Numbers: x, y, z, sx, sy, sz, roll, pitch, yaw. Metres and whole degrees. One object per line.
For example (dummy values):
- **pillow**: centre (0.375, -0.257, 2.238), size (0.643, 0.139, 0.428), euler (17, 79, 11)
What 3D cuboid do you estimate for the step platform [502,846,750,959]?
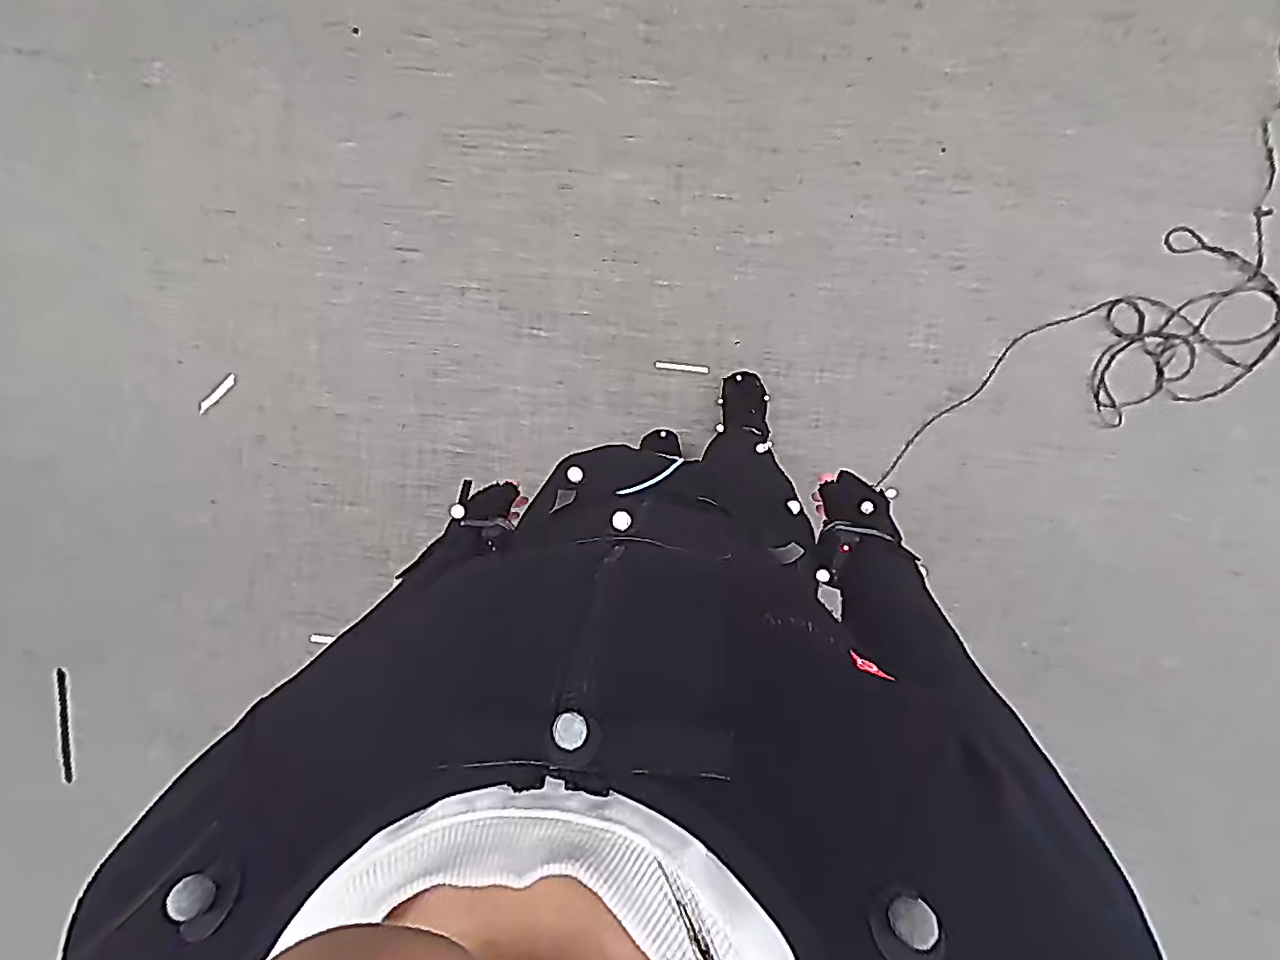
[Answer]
- **step platform**: centre (-0.037, 1.272, 1.519), size (0.684, 0.204, 0.286), euler (6, 97, 6)
